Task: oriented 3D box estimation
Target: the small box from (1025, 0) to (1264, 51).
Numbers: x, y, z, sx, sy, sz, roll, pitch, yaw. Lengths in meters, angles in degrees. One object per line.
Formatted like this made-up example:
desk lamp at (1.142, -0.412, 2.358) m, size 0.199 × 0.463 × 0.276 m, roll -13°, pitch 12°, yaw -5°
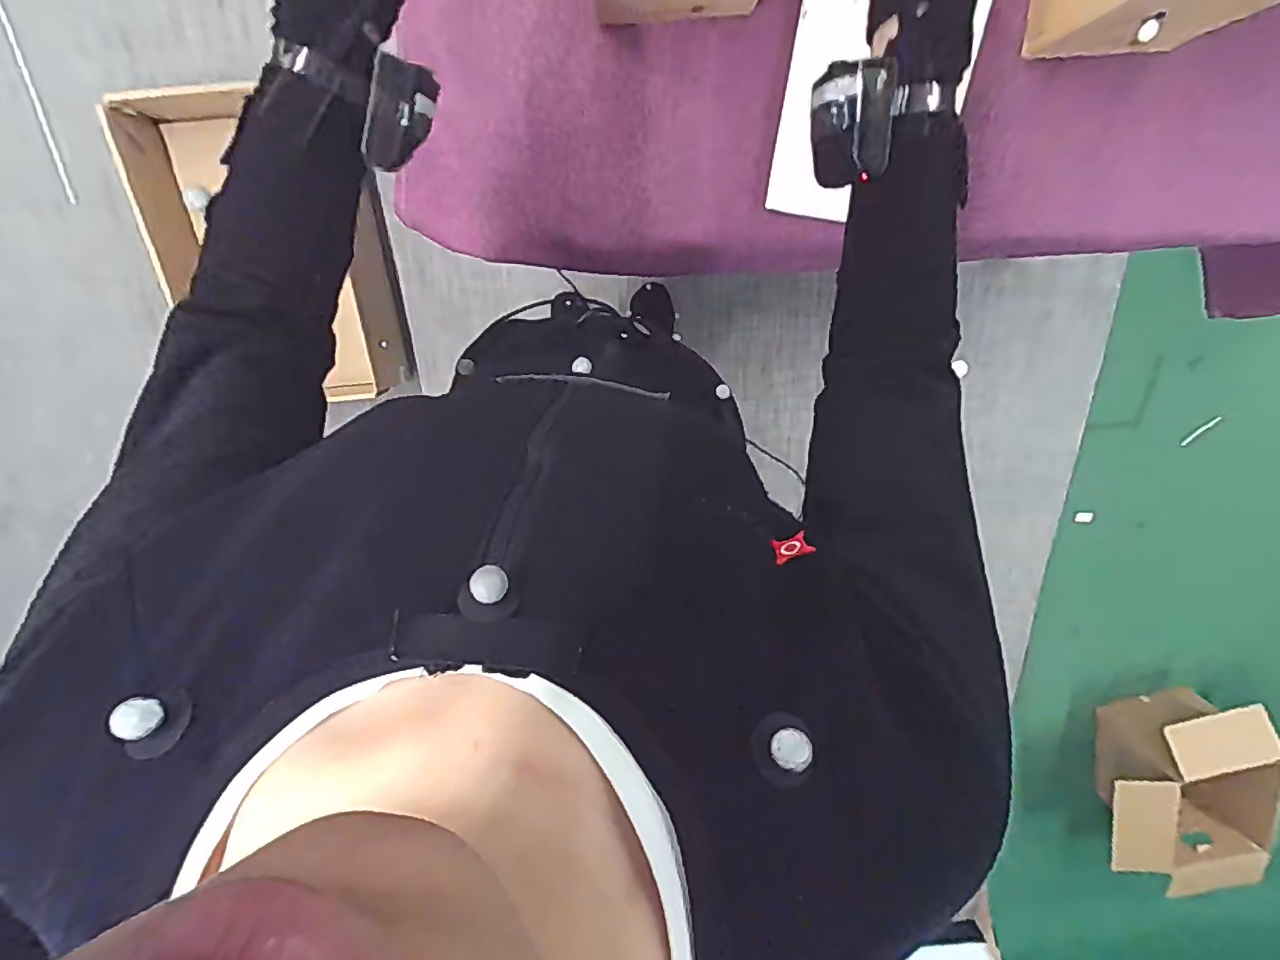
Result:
small box at (0.491, -0.516, 0.485) m, size 0.168 × 0.176 × 0.179 m, roll -4°, pitch 110°, yaw 0°
